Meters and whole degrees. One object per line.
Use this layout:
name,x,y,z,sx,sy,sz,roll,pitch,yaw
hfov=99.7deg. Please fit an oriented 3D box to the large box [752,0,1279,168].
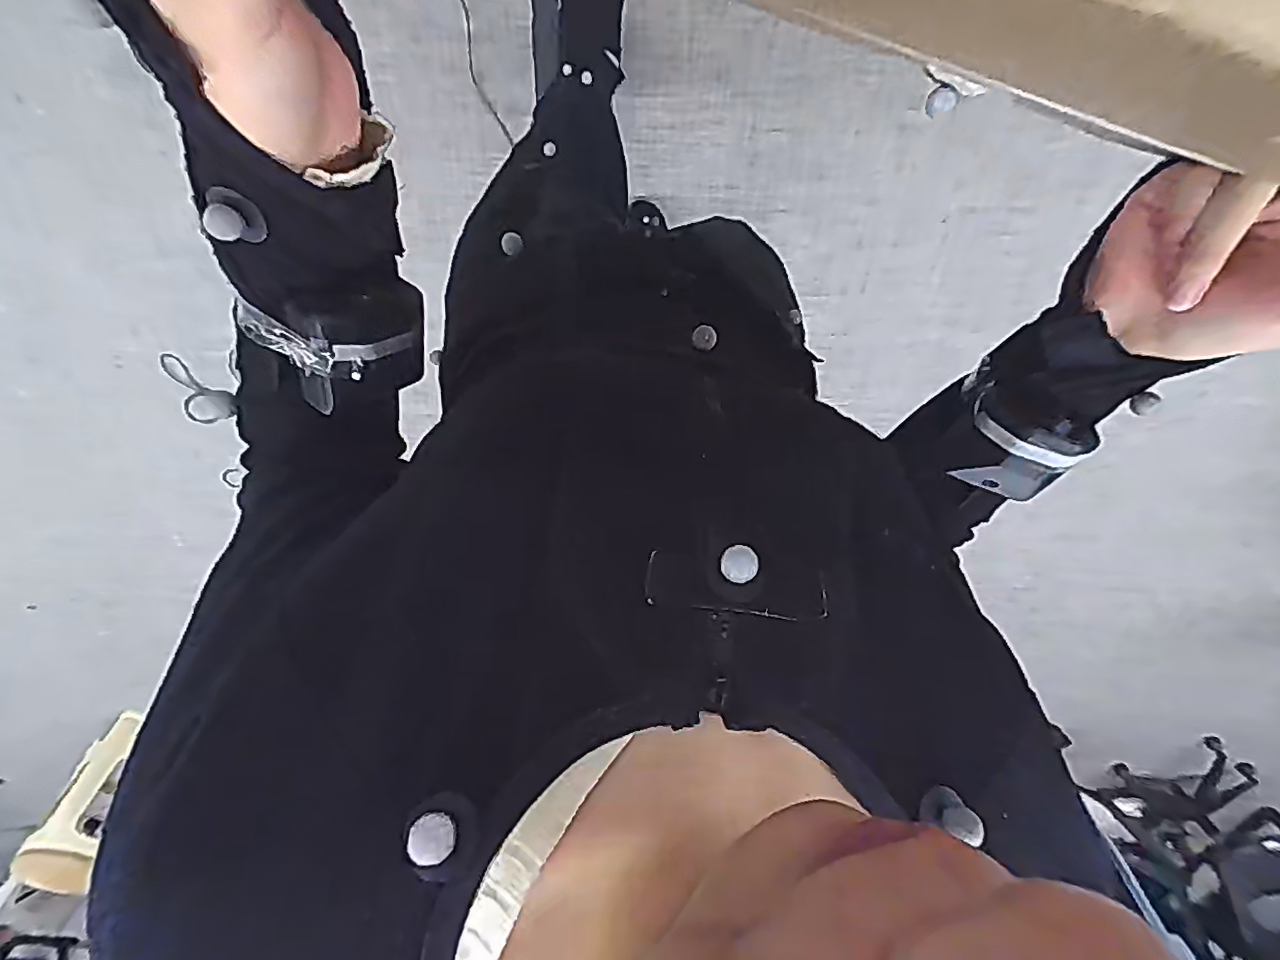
large box,0.092,-0.273,0.080,0.408,0.320,0.320,12,131,-7
